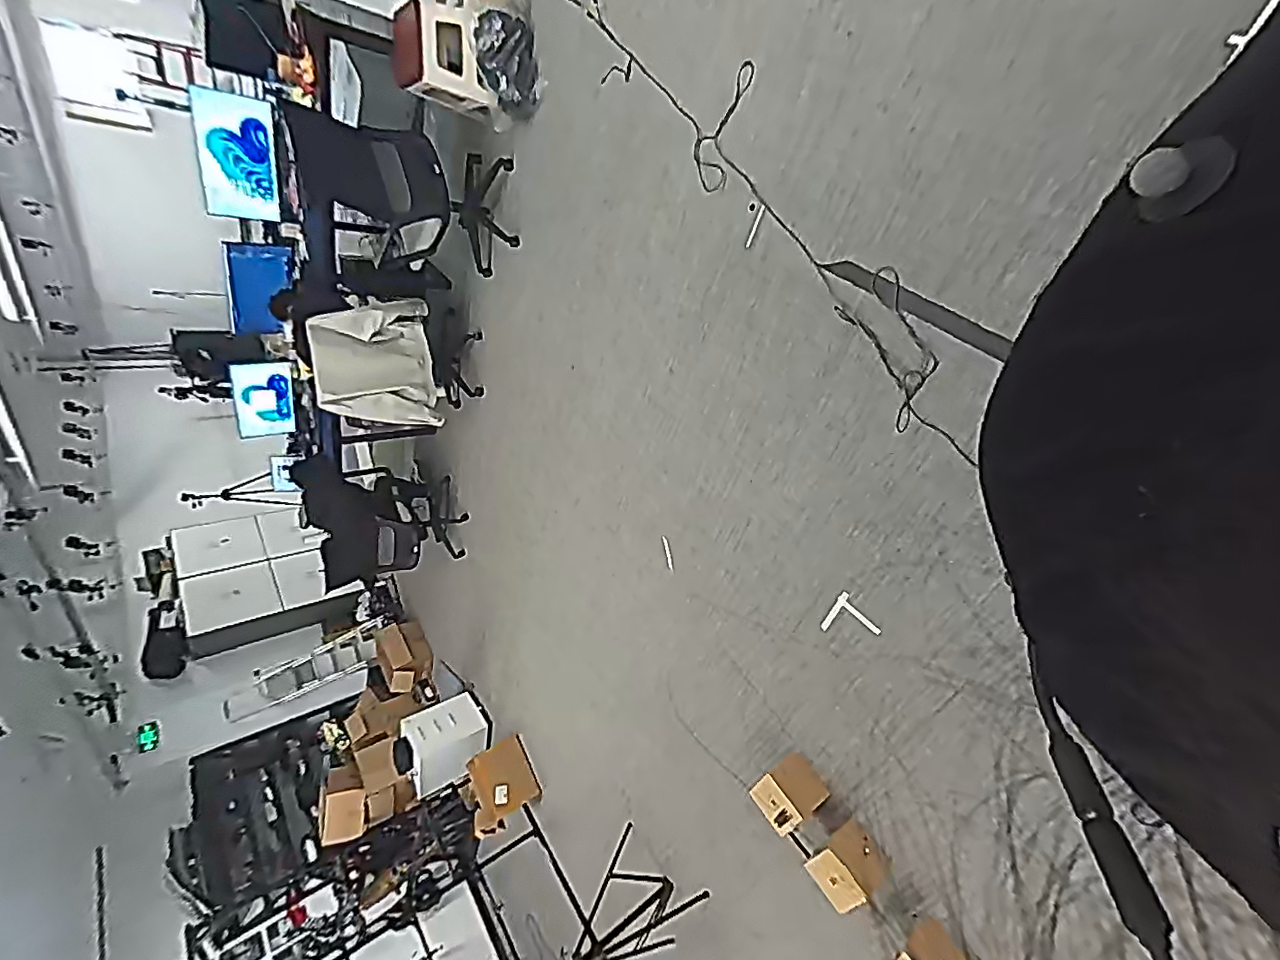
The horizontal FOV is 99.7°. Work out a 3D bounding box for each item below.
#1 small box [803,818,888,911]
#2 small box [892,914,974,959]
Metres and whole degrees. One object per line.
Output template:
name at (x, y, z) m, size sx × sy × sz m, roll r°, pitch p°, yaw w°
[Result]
small box at (0.692, 1.283, 1.811) m, size 0.168 × 0.176 × 0.179 m, roll 47°, pitch 132°, yaw 30°
small box at (0.886, 1.485, 1.638) m, size 0.179 × 0.176 × 0.168 m, roll 33°, pitch 124°, yaw 39°
